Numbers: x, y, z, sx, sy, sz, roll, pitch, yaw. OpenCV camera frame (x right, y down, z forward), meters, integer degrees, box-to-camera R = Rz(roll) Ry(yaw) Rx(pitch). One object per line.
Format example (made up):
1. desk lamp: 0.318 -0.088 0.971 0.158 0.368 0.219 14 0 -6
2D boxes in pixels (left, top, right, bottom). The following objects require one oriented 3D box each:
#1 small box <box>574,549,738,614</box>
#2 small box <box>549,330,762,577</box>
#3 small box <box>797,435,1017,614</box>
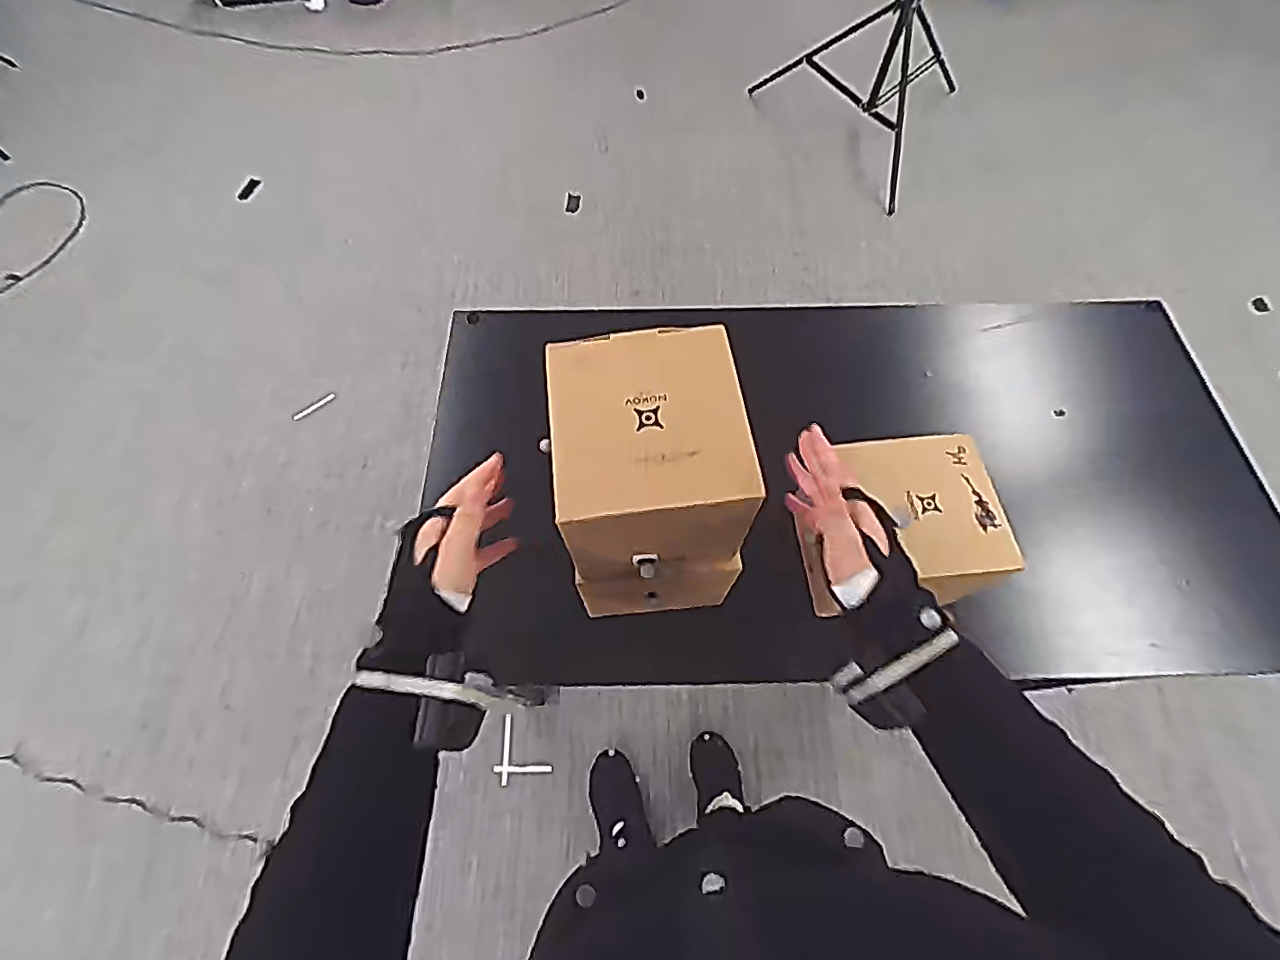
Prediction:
1. small box: 0.012 0.064 0.671 0.179 0.176 0.168 -5 64 -1
2. small box: 0.007 -0.018 0.530 0.168 0.176 0.179 -7 65 -2
3. small box: 0.306 0.063 0.670 0.179 0.176 0.168 -5 64 -1
